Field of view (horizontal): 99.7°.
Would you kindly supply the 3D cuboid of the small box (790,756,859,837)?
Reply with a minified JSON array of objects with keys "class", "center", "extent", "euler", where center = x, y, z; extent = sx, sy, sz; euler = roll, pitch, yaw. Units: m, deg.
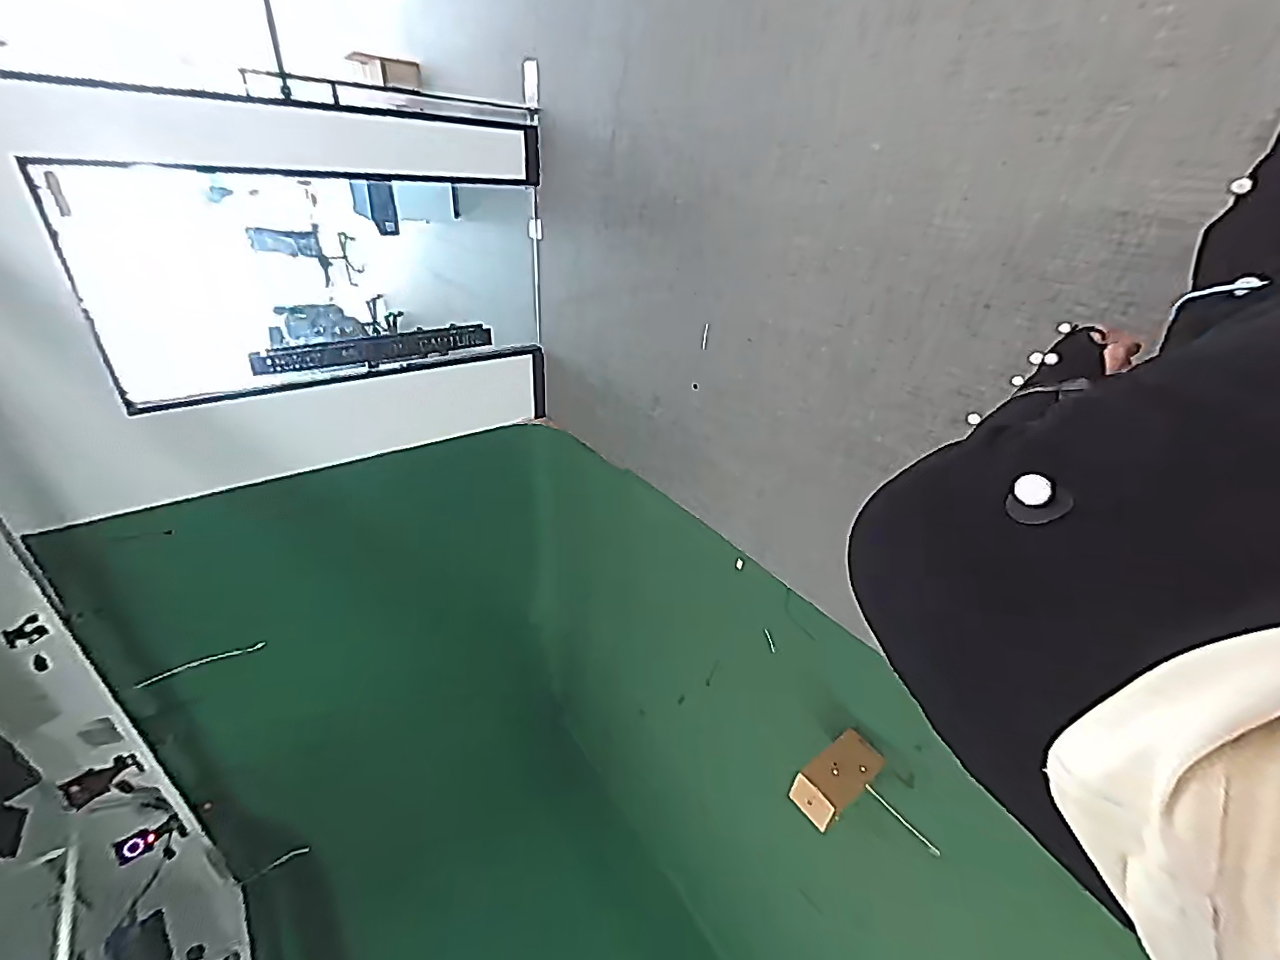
[{"class":"small box","center":[0.709,1.209,2.074],"extent":[0.168,0.176,0.179],"euler":[38,133,40]}]
